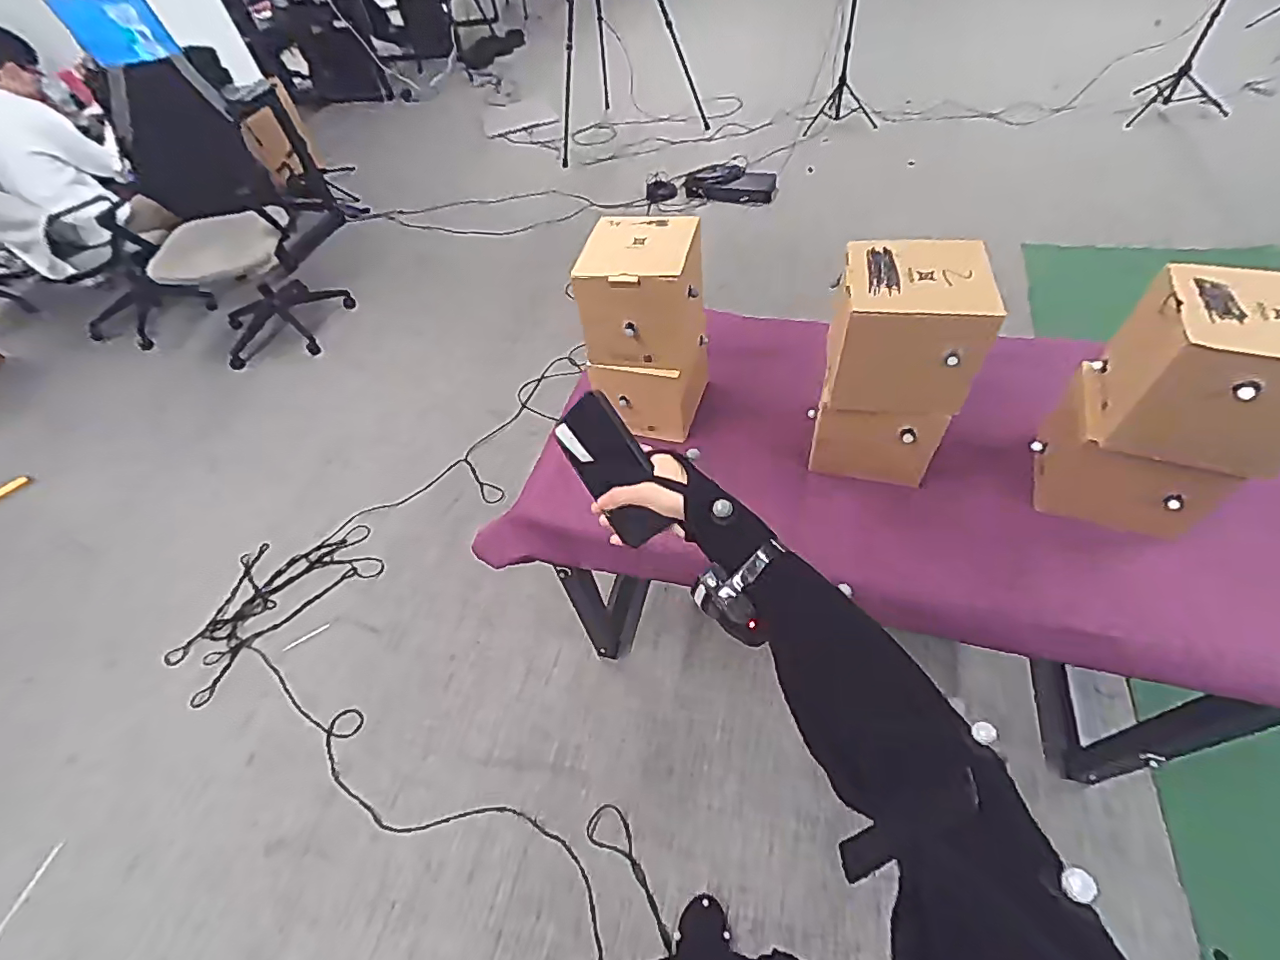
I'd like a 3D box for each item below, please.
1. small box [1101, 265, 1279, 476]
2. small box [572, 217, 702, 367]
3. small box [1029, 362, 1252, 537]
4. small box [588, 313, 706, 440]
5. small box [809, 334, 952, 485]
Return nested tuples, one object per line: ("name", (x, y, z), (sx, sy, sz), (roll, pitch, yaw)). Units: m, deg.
("small box", (0.688, -0.127, 0.642), (0.179, 0.176, 0.168), (16, 56, 19))
("small box", (0.008, -0.303, 0.880), (0.168, 0.176, 0.179), (7, 54, 13))
("small box", (0.703, -0.040, 0.781), (0.179, 0.176, 0.168), (16, 56, 20))
("small box", (0.024, -0.196, 1.004), (0.168, 0.176, 0.179), (11, 55, 17))
("small box", (0.386, -0.112, 0.882), (0.179, 0.176, 0.168), (11, 54, 16))
